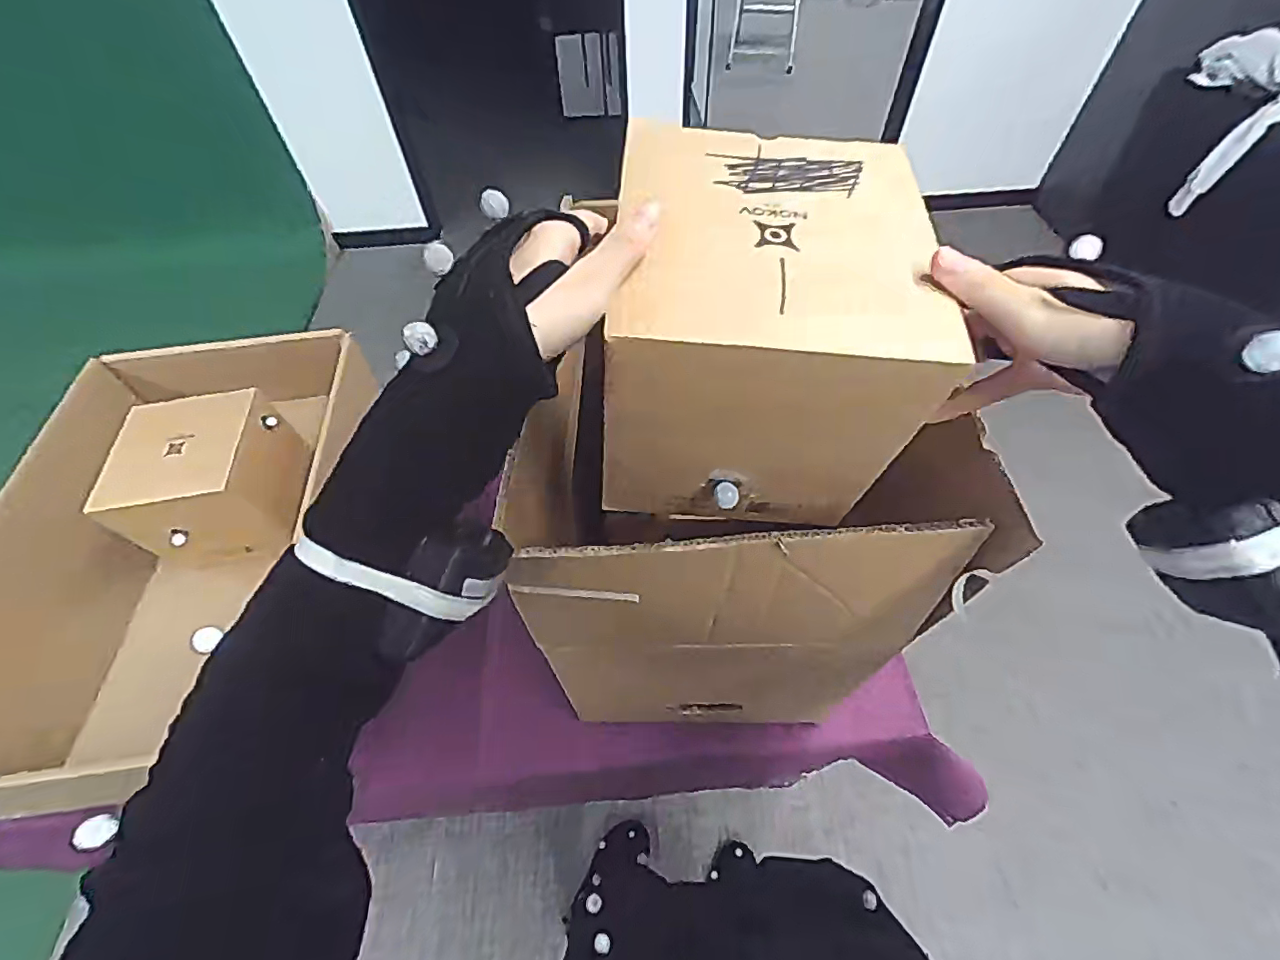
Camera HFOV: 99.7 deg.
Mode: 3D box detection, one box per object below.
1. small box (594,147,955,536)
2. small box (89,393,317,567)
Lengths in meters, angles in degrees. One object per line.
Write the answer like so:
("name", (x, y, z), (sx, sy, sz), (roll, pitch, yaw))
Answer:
("small box", (0.061, -0.081, 0.352), (0.168, 0.176, 0.179), (2, 59, 0))
("small box", (-0.587, 0.008, 0.759), (0.168, 0.176, 0.179), (-10, 55, -3))
